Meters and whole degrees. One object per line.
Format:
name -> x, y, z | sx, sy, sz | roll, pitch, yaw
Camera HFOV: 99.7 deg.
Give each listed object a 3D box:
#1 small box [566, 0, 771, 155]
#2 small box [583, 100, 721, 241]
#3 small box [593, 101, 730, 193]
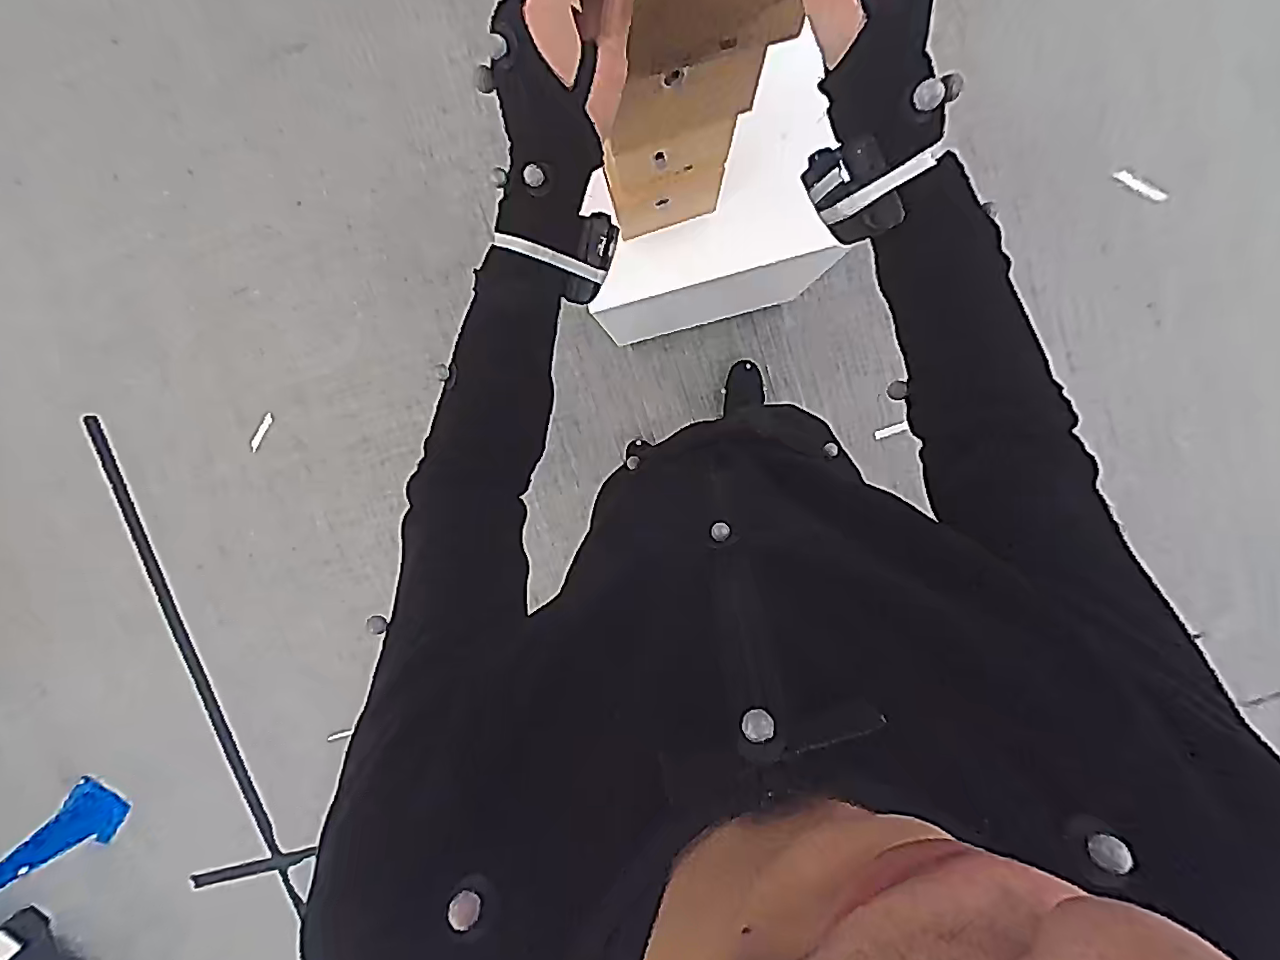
small box -> 0.020, -0.477, 0.563 | 0.179, 0.176, 0.168 | -16, 96, 5
small box -> 0.022, -0.518, 0.888 | 0.179, 0.176, 0.168 | -17, 96, 4
small box -> 0.022, -0.514, 0.725 | 0.168, 0.176, 0.179 | -16, 95, 4
